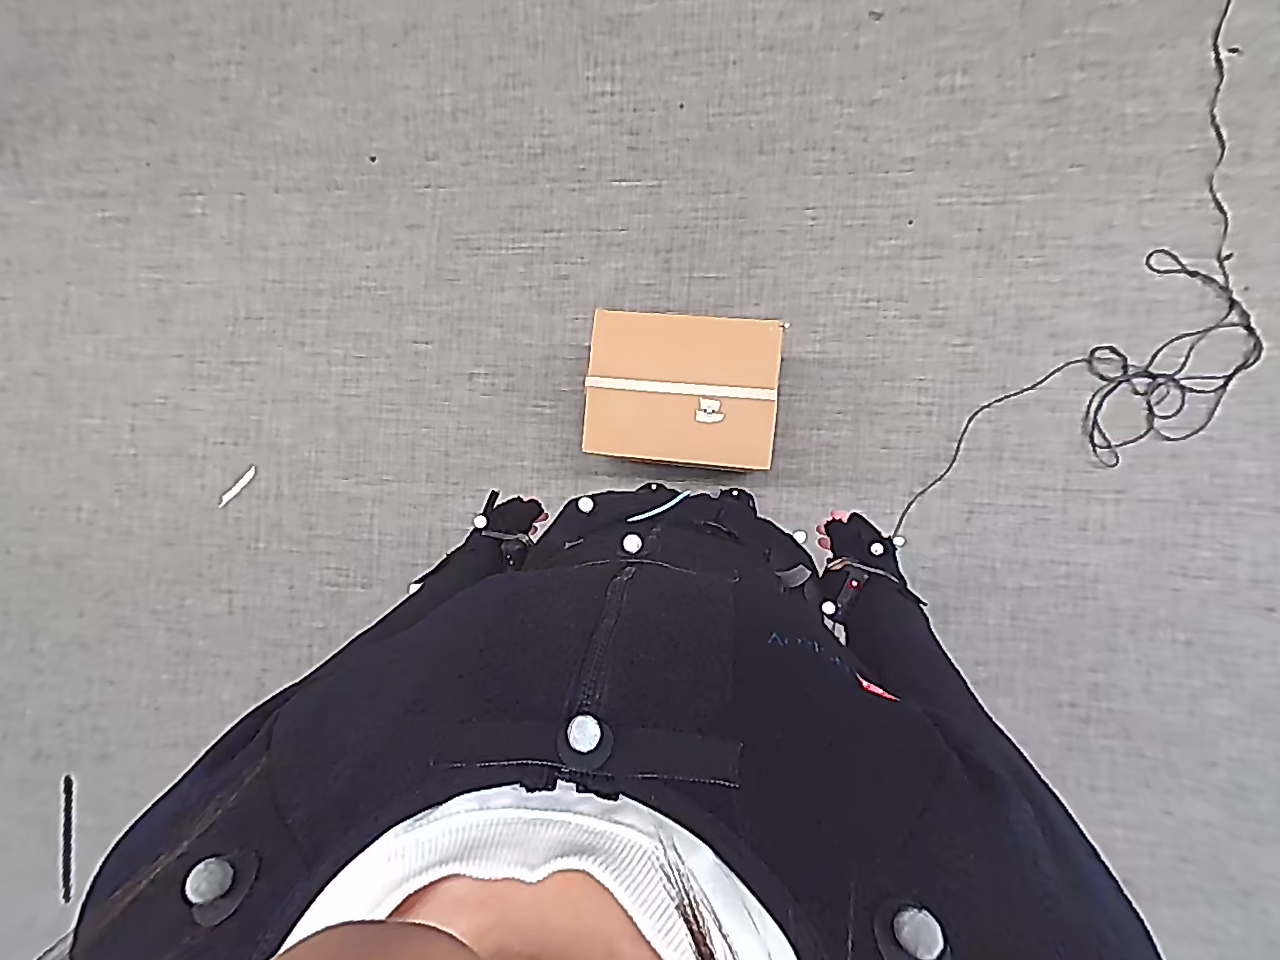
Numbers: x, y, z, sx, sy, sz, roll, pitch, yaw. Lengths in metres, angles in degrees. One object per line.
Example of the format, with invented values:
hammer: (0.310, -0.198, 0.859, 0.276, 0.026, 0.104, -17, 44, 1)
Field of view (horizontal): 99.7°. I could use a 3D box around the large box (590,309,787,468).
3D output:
large box: (0.114, -0.201, 1.298, 0.408, 0.320, 0.320, 6, 91, 7)
